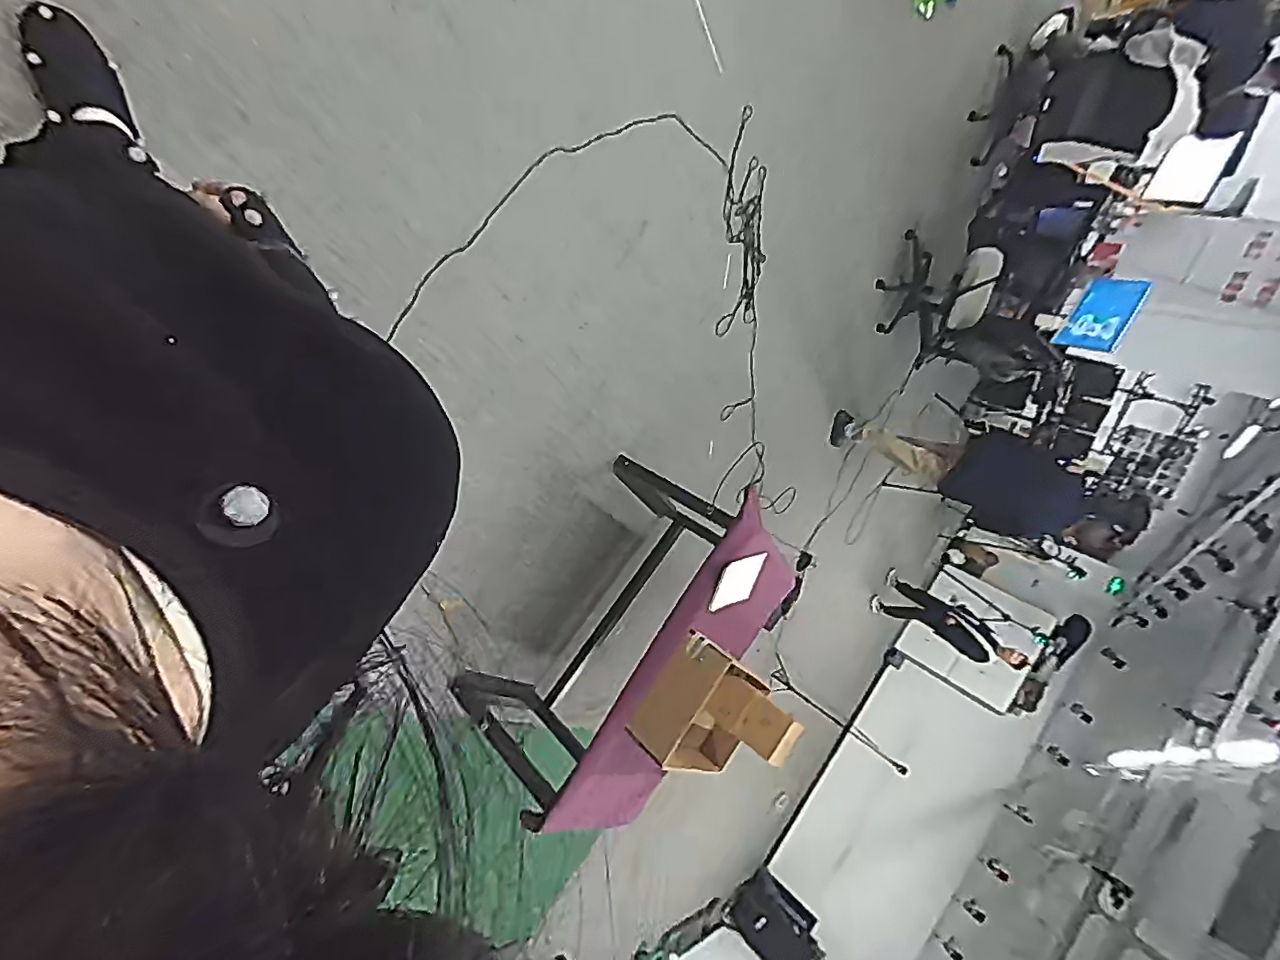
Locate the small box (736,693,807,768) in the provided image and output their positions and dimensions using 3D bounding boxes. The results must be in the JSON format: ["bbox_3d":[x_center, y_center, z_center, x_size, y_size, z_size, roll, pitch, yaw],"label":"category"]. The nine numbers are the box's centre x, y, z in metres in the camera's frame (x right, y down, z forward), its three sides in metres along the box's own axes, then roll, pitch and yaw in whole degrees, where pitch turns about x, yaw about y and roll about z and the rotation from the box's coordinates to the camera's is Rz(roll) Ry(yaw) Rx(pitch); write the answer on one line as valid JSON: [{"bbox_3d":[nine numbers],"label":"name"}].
[{"bbox_3d":[0.465,0.884,1.917,0.168,0.176,0.179,-53,141,-10],"label":"small box"}]
